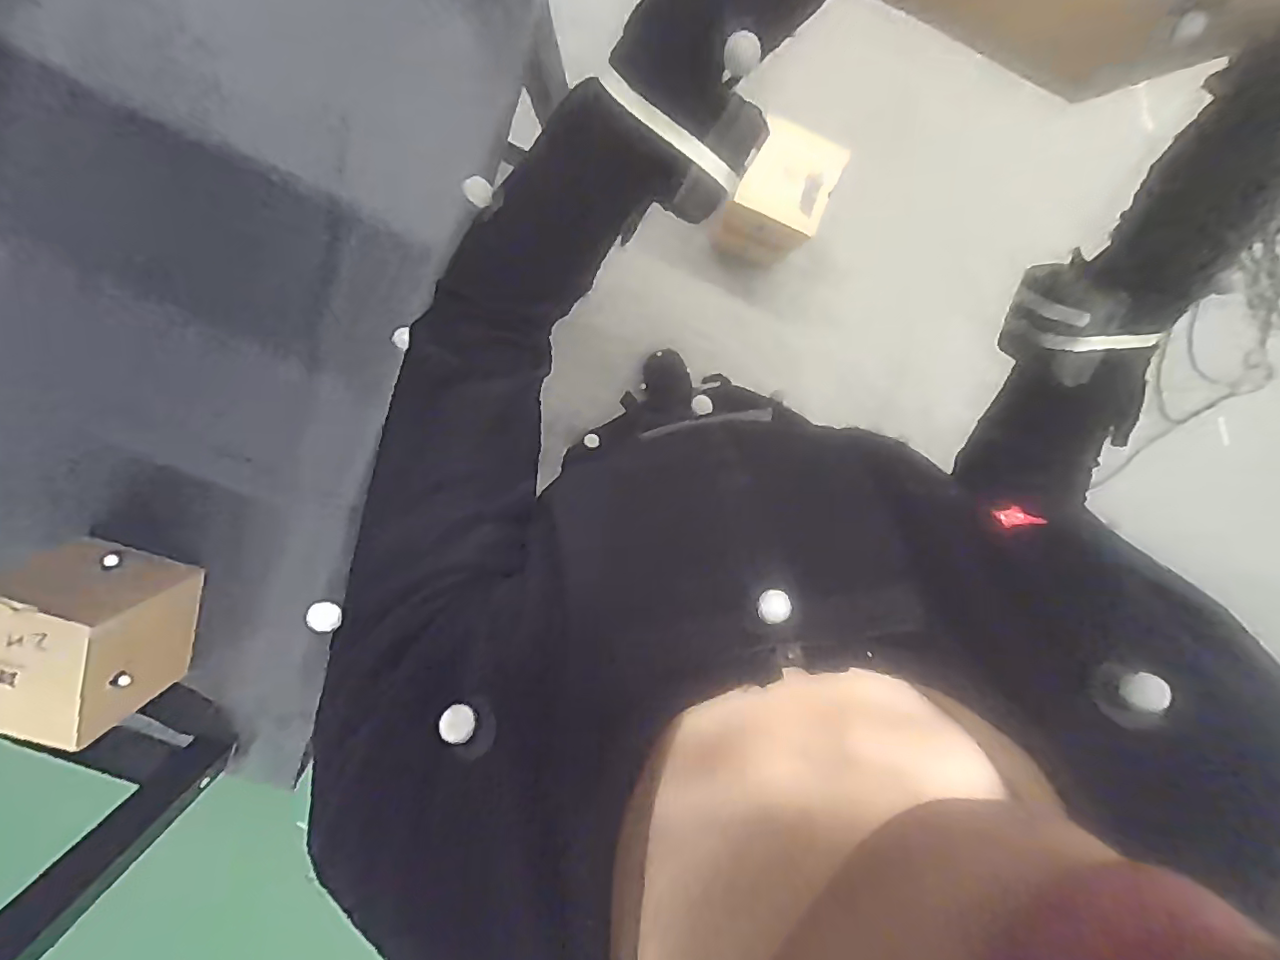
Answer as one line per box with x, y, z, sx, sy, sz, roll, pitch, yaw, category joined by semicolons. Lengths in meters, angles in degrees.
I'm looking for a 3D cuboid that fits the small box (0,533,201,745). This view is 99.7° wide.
-0.715;0.192;0.694;0.168;0.176;0.179;18;102;-5;small box

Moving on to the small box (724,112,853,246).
0.289;-0.594;1.095;0.179;0.176;0.168;23;102;-4;small box
